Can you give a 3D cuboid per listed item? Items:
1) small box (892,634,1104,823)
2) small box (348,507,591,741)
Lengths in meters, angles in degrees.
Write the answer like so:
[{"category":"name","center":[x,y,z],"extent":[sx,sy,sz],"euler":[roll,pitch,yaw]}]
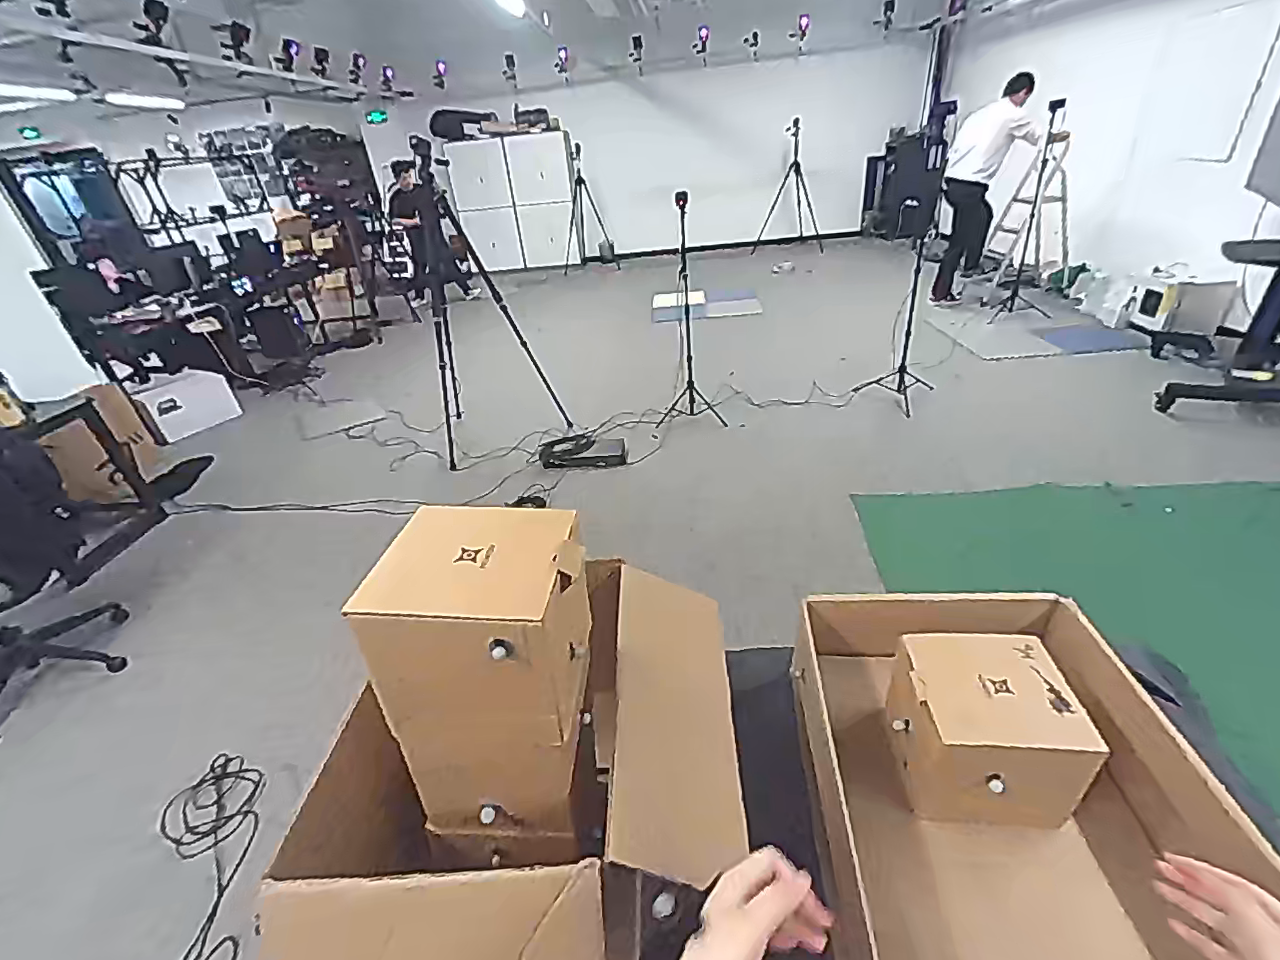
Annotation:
[{"category":"small box","center":[0.445,0.324,0.712],"extent":[0.179,0.176,0.168],"euler":[-3,33,9]},{"category":"small box","center":[-0.152,0.143,0.554],"extent":[0.179,0.176,0.168],"euler":[1,30,4]}]
